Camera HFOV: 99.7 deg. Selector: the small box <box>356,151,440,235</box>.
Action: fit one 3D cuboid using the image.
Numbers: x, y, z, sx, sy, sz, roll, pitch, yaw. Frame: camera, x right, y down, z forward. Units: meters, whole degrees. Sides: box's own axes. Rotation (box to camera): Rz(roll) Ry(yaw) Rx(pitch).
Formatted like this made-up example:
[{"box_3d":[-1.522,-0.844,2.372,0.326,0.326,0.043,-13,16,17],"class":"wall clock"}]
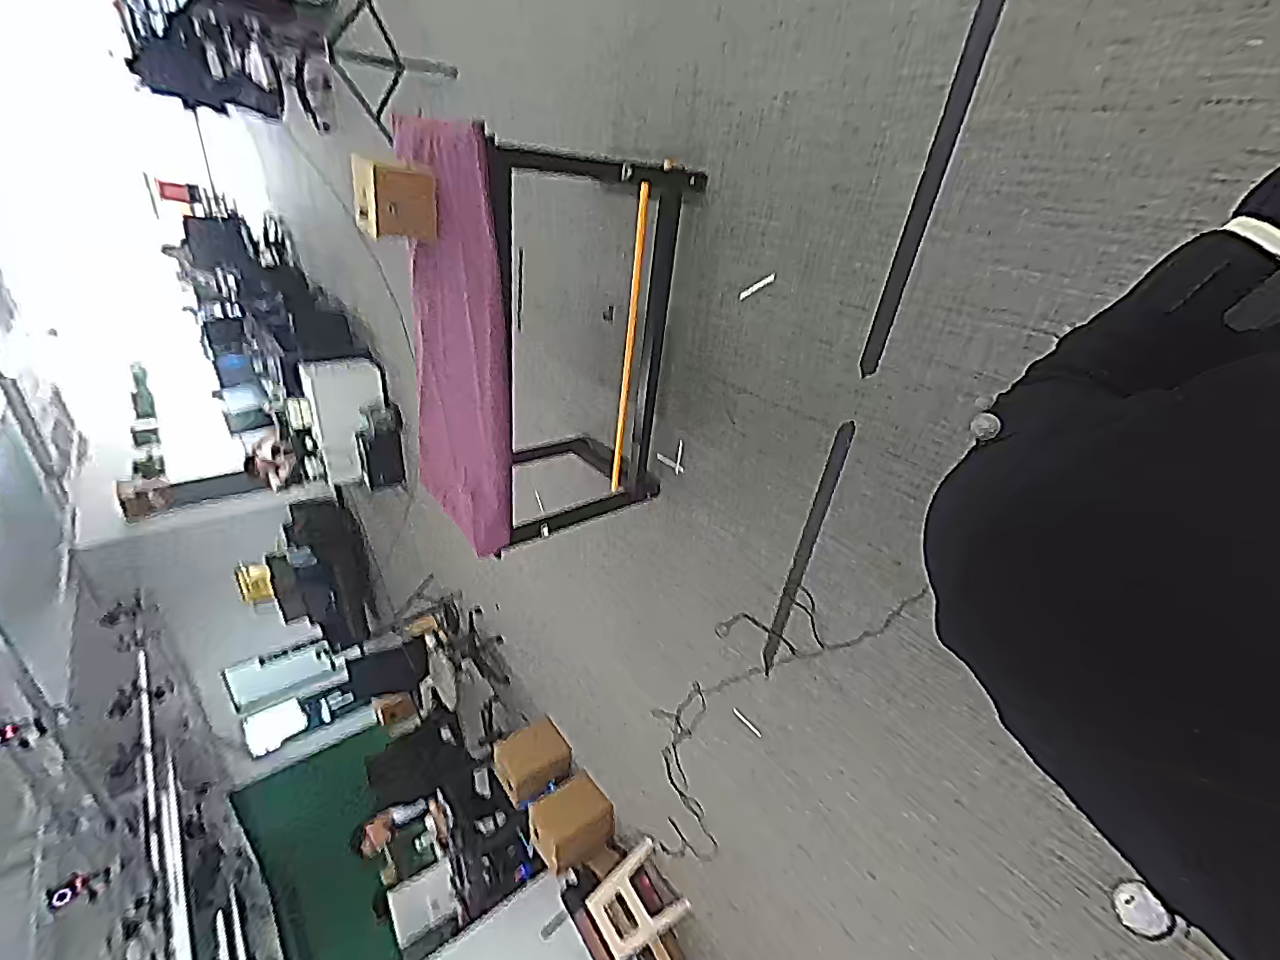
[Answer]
[{"box_3d":[-0.670,-0.794,1.507,0.168,0.176,0.179,39,131,35],"class":"small box"}]
